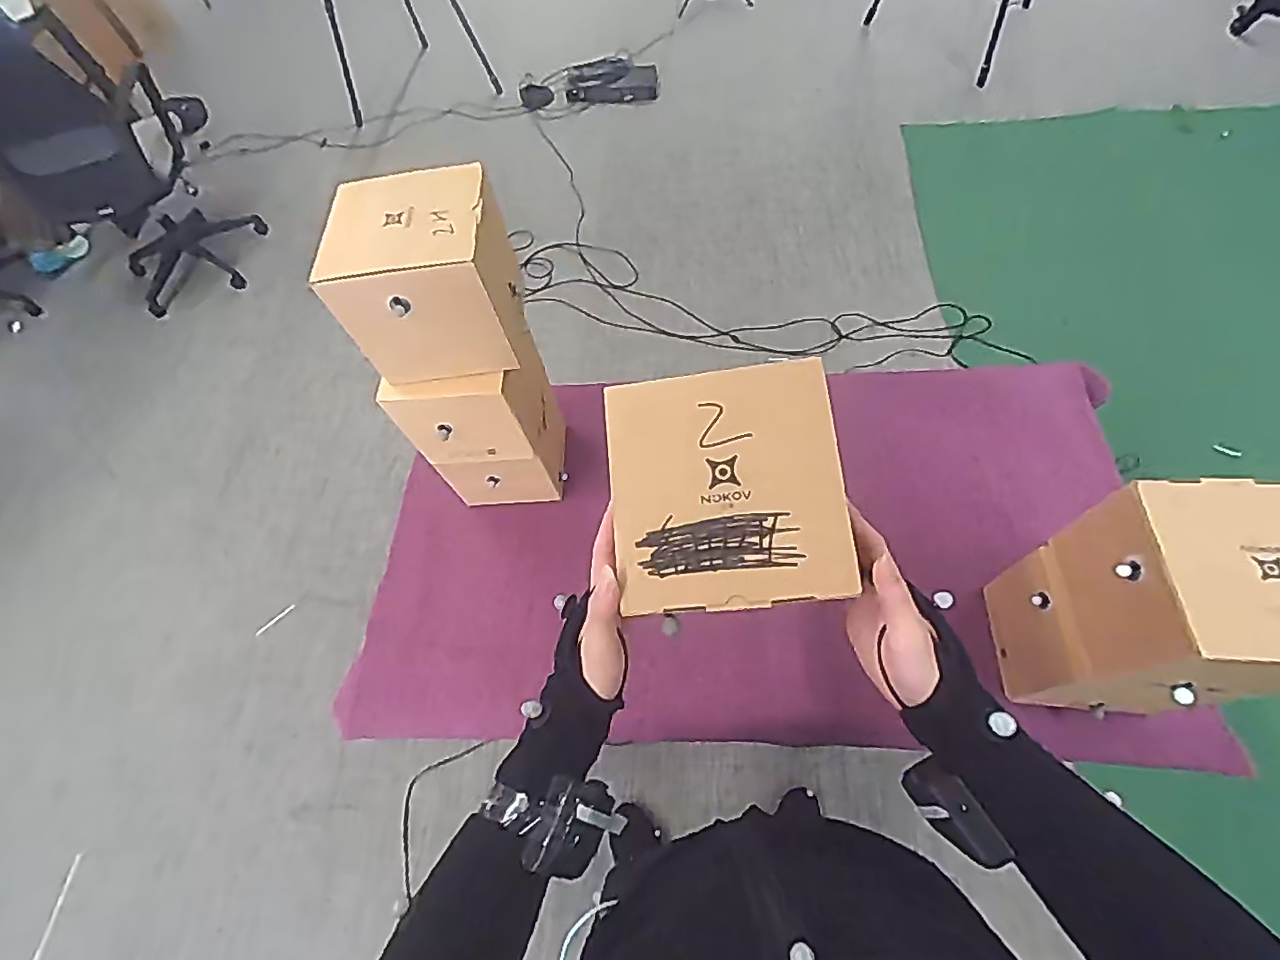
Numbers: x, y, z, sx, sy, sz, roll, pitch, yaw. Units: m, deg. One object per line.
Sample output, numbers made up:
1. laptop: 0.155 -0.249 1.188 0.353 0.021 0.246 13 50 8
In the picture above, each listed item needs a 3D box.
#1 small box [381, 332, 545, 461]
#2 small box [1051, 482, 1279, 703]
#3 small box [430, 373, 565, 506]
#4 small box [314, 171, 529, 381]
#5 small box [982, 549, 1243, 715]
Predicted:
1. small box: -0.243 -0.137 0.790 0.168 0.176 0.179 -3 61 5
2. small box: 0.570 0.119 0.558 0.168 0.176 0.179 2 62 10
3. small box: -0.232 -0.065 0.934 0.179 0.176 0.168 -4 61 5
4. small box: -0.247 -0.237 0.657 0.179 0.176 0.168 -6 61 3
5. small box: 0.584 0.202 0.699 0.179 0.176 0.168 3 61 8
